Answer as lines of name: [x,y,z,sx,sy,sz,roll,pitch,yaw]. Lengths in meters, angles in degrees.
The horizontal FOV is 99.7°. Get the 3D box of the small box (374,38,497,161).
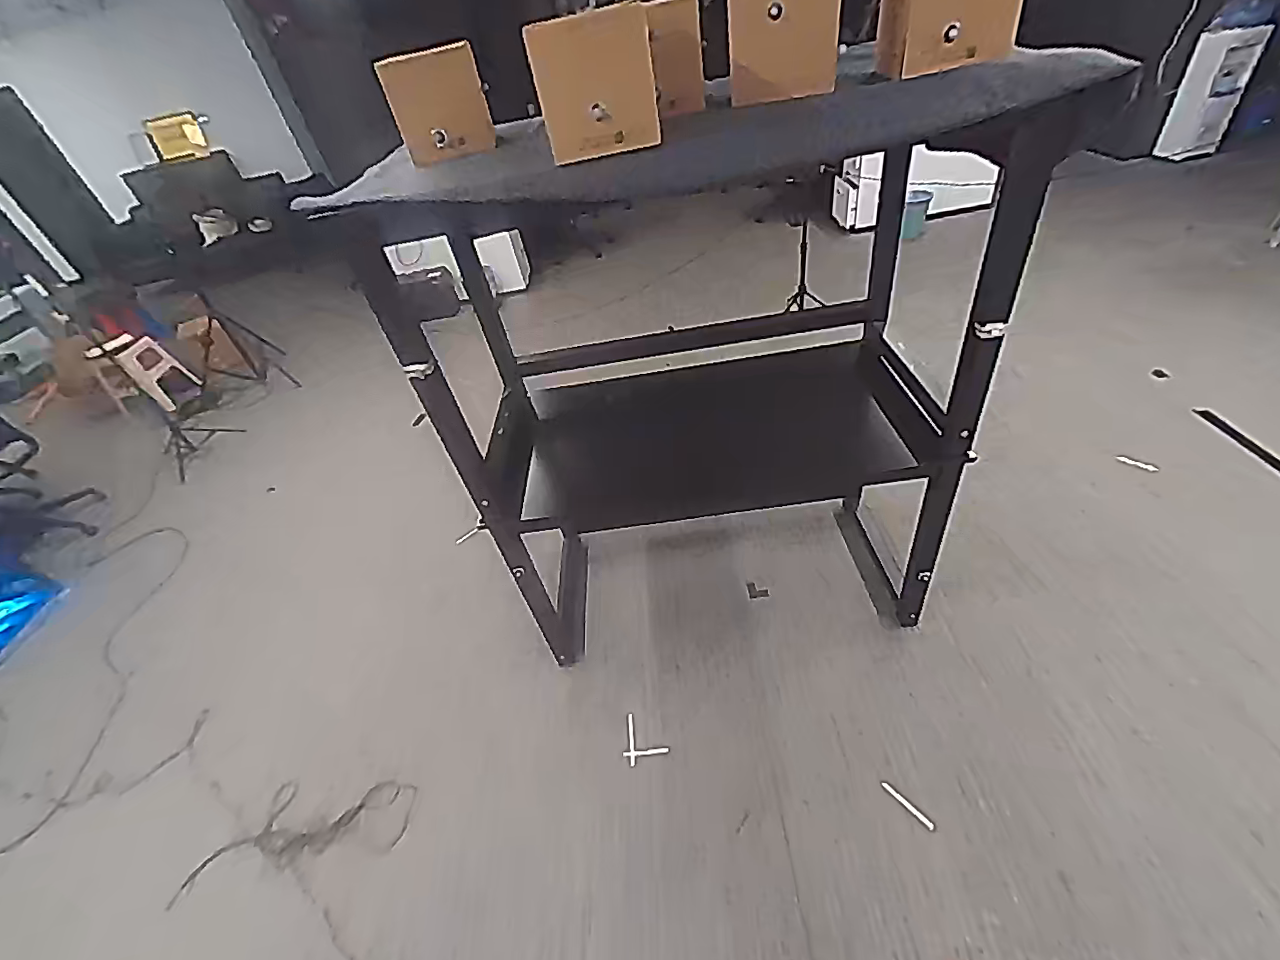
small box: [-0.391,-0.749,1.068,0.168,0.176,0.179,-15,42,-1]

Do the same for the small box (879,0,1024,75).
small box: [0.499,-0.775,0.873,0.168,0.176,0.179,-5,42,10]

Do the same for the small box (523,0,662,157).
small box: [-0.061,-0.610,0.822,0.168,0.176,0.179,-7,40,8]
